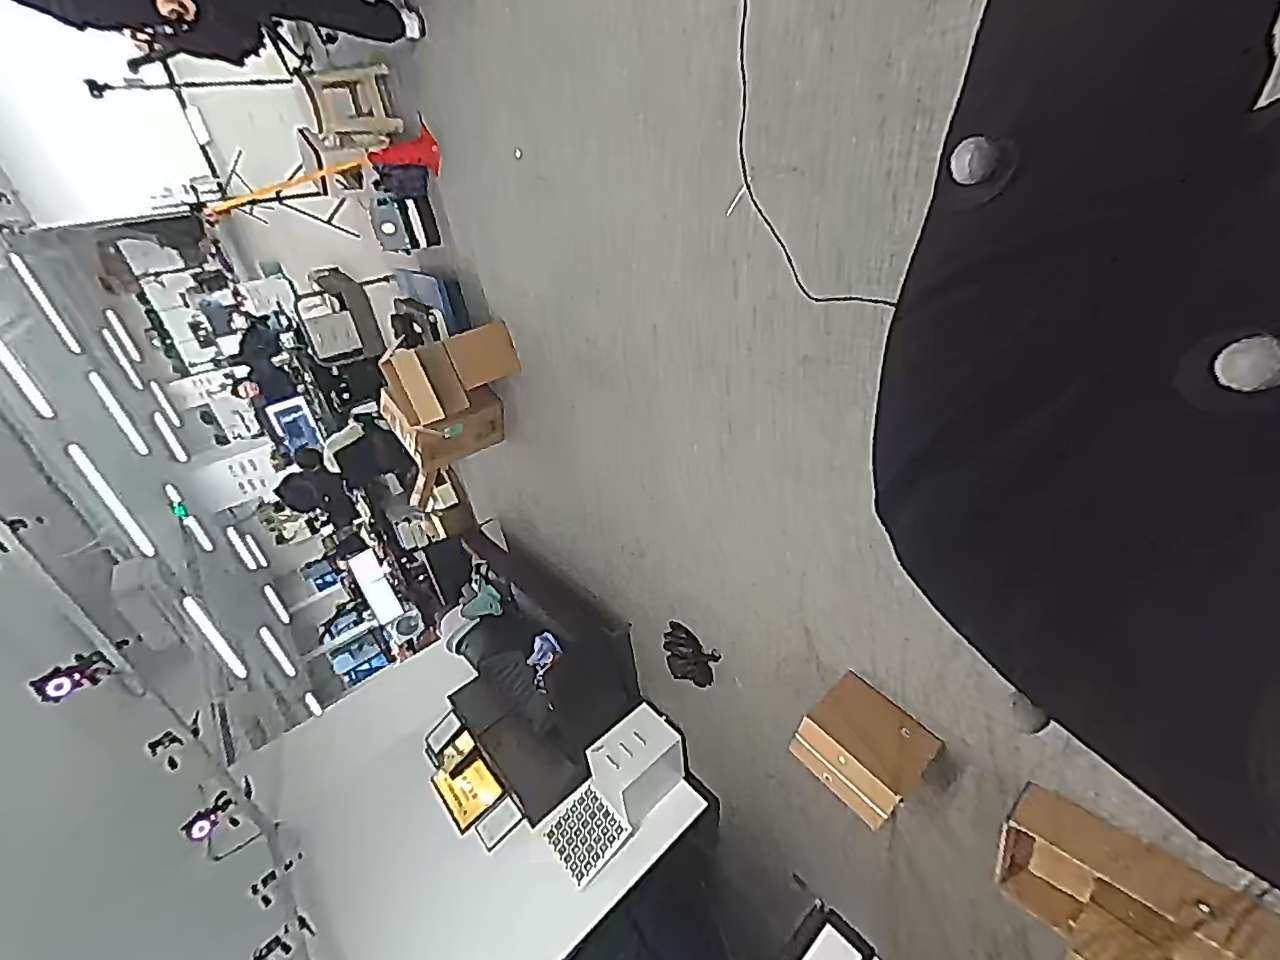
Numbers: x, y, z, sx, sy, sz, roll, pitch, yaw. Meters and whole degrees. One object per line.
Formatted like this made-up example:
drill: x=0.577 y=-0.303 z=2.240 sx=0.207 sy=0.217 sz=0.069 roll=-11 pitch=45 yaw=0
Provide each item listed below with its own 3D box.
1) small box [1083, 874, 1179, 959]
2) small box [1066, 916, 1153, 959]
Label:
small box: x=1.421 y=1.313 z=1.575 sx=0.179 sy=0.176 sz=0.168 roll=22 pitch=130 yaw=49
small box: x=1.294 y=1.367 z=1.485 sx=0.179 sy=0.176 sz=0.168 roll=25 pitch=133 yaw=46
